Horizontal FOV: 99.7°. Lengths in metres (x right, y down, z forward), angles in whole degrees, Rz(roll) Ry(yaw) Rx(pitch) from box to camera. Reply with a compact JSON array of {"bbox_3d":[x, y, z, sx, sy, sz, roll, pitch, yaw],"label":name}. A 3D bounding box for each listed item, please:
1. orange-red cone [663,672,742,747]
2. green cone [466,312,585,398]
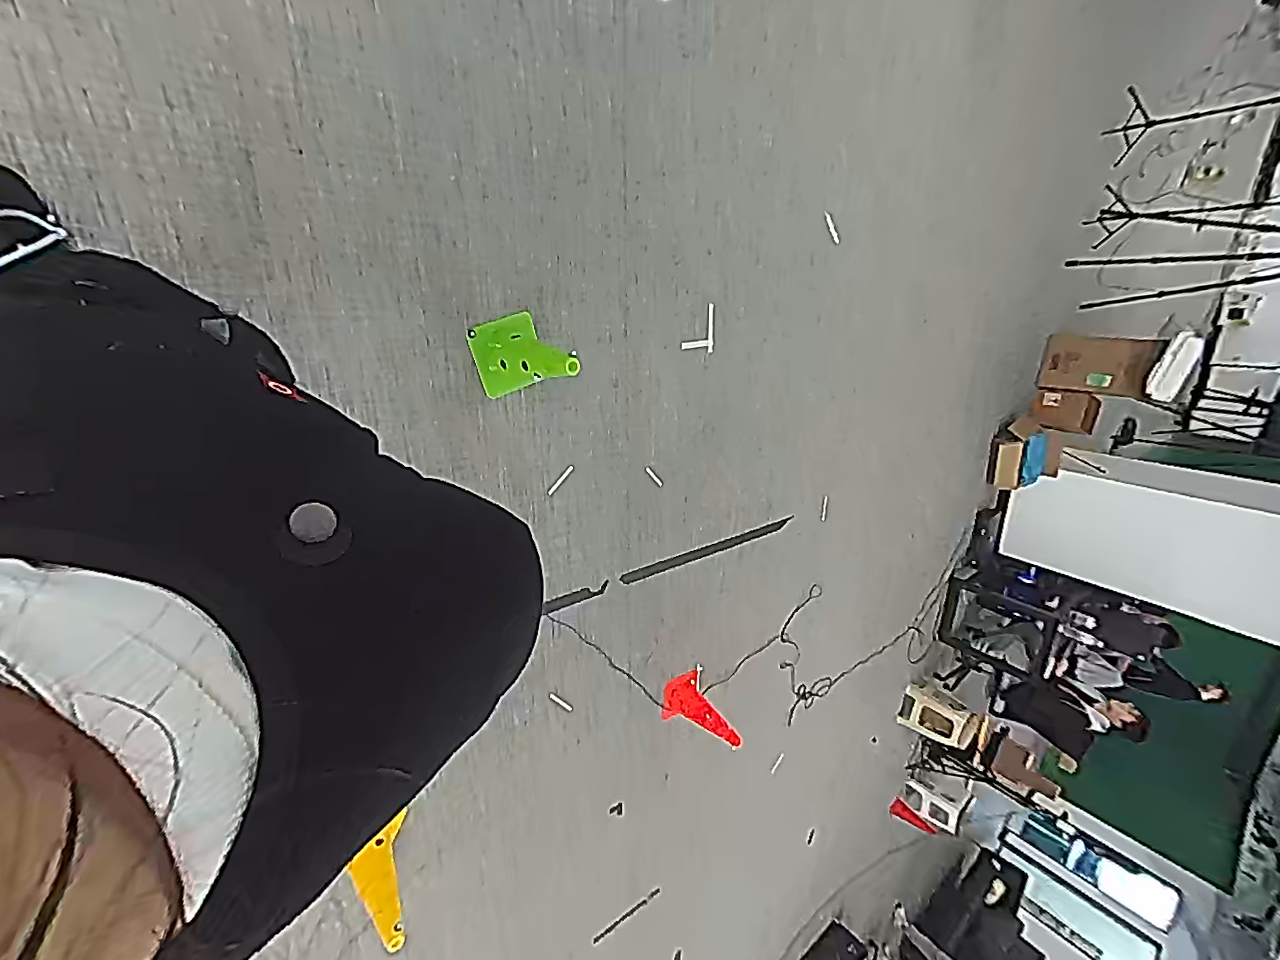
[{"bbox_3d":[0.288,1.010,2.291,0.199,0.360,0.198,-5,107,-37],"label":"orange-red cone"},{"bbox_3d":[-0.261,-0.306,1.387,0.202,0.368,0.200,-31,123,-30],"label":"green cone"}]
